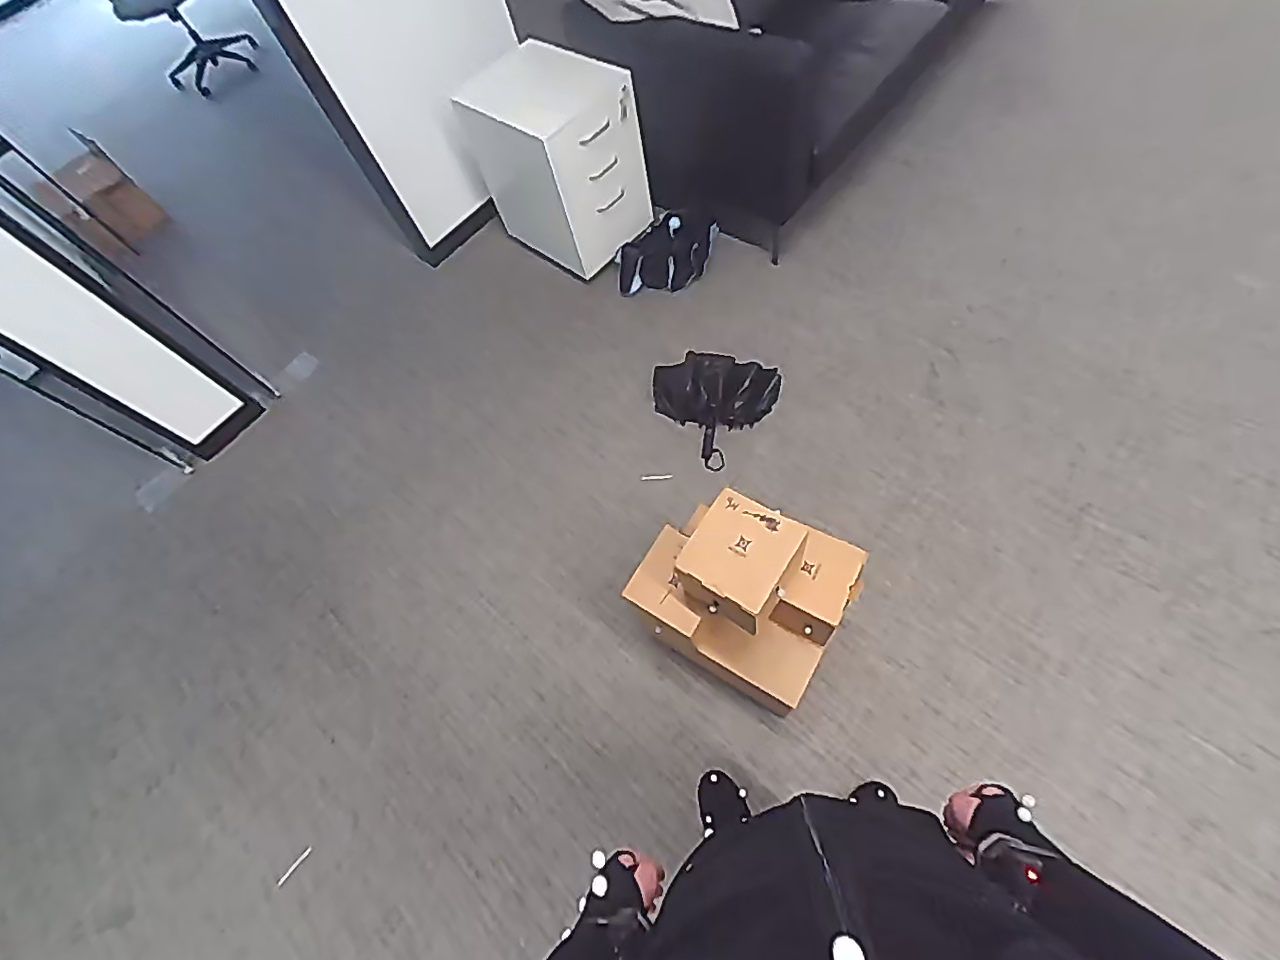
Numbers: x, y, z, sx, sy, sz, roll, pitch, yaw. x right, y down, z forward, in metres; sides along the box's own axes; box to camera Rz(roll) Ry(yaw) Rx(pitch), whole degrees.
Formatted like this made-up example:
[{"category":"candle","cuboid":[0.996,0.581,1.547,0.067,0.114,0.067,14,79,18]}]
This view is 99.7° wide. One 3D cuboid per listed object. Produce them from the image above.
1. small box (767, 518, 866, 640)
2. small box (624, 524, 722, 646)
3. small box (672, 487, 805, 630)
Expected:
[{"category":"small box","cuboid":[0.338,0.212,1.118,0.179,0.176,0.168,24,67,23]},{"category":"small box","cuboid":[0.092,0.229,1.156,0.168,0.176,0.179,28,74,23]},{"category":"small box","cuboid":[0.184,0.150,0.990,0.168,0.176,0.179,30,73,24]}]
